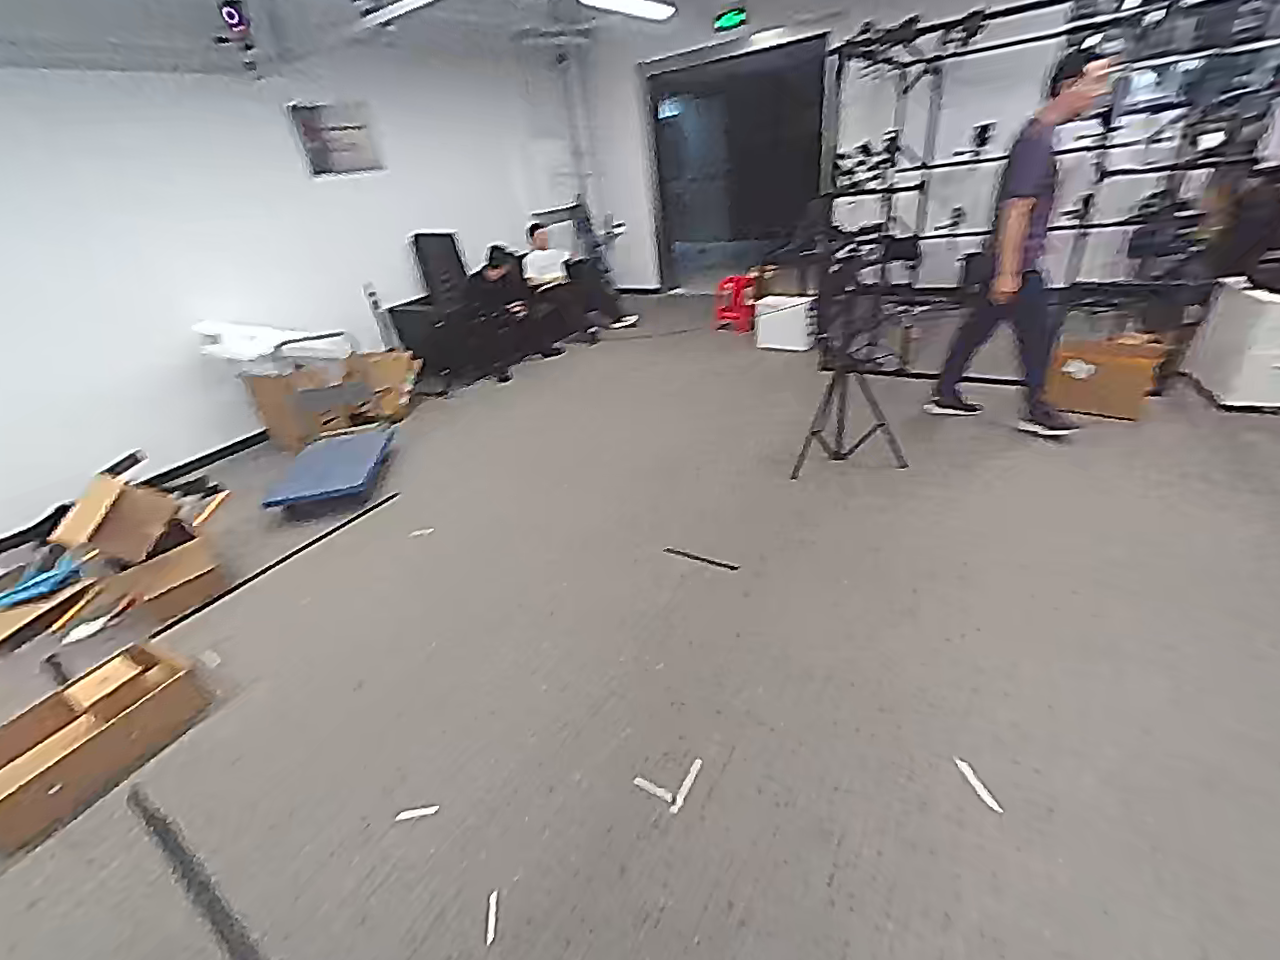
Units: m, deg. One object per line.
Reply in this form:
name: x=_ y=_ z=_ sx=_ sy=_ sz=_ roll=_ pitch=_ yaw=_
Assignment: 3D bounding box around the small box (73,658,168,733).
small box: x=-1.889 y=0.788 z=1.972 sx=0.179 sy=0.176 sz=0.168 roll=10 pitch=35 yaw=28
